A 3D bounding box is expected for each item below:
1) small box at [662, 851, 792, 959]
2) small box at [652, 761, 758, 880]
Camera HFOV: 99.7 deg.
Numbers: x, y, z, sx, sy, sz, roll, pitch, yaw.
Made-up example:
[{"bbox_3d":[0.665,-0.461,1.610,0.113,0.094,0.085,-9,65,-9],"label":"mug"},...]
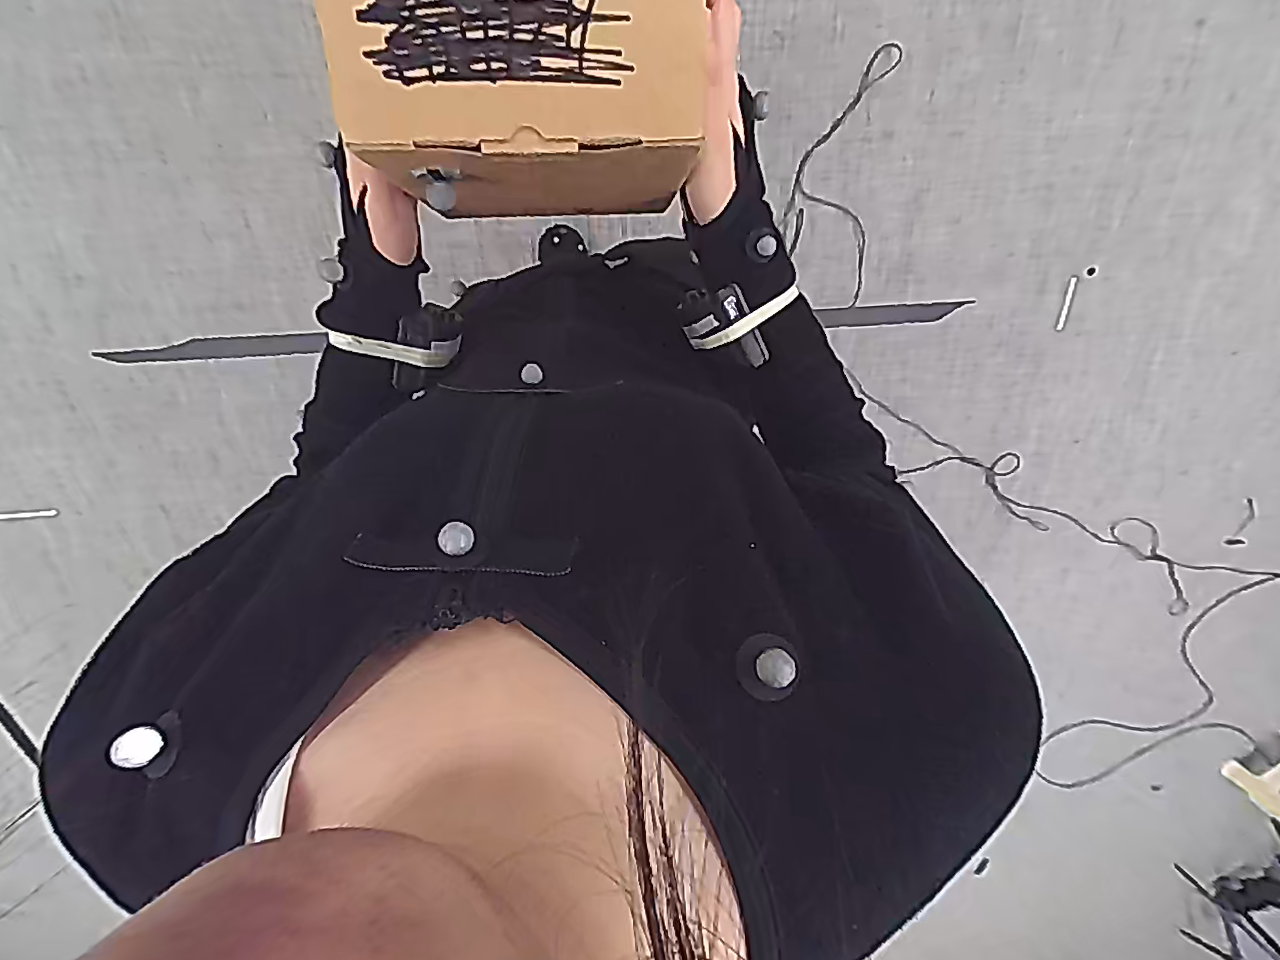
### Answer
[{"bbox_3d":[0.132,0.732,0.861,0.179,0.176,0.168,-9,118,-3],"label":"small box"},{"bbox_3d":[0.116,0.661,1.006,0.168,0.176,0.179,-7,116,-3],"label":"small box"}]
